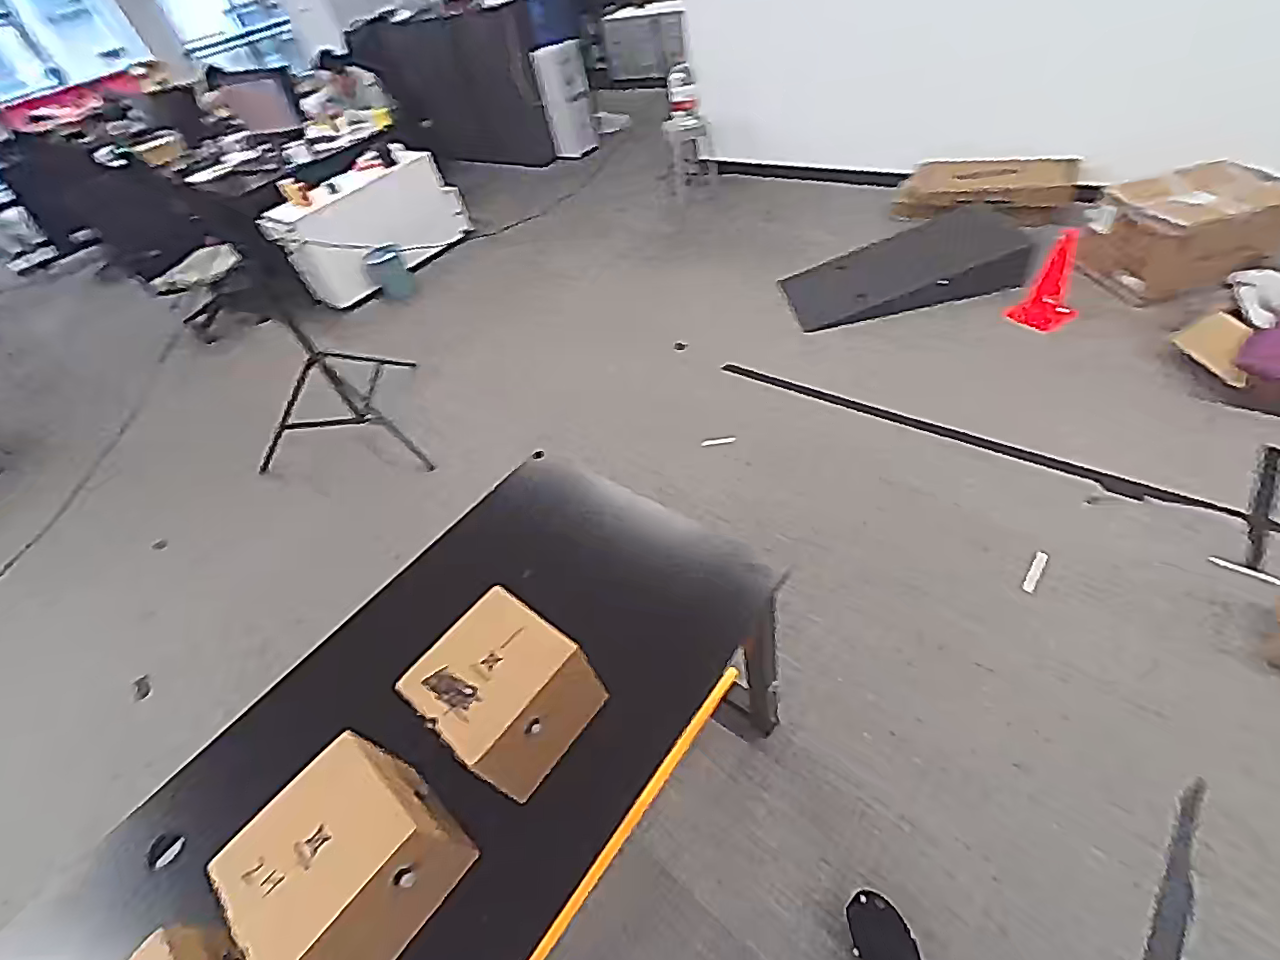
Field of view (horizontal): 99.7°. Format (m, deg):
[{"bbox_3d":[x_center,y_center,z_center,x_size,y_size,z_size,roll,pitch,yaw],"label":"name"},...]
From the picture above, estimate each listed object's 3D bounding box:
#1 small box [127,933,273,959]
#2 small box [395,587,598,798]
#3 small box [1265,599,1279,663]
[{"bbox_3d":[-0.457,0.592,0.521,0.179,0.176,0.168,25,60,31],"label":"small box"},{"bbox_3d":[-0.180,0.287,0.727,0.168,0.176,0.179,26,58,33],"label":"small box"},{"bbox_3d":[1.581,0.349,1.223,0.168,0.176,0.179,23,59,31],"label":"small box"}]
